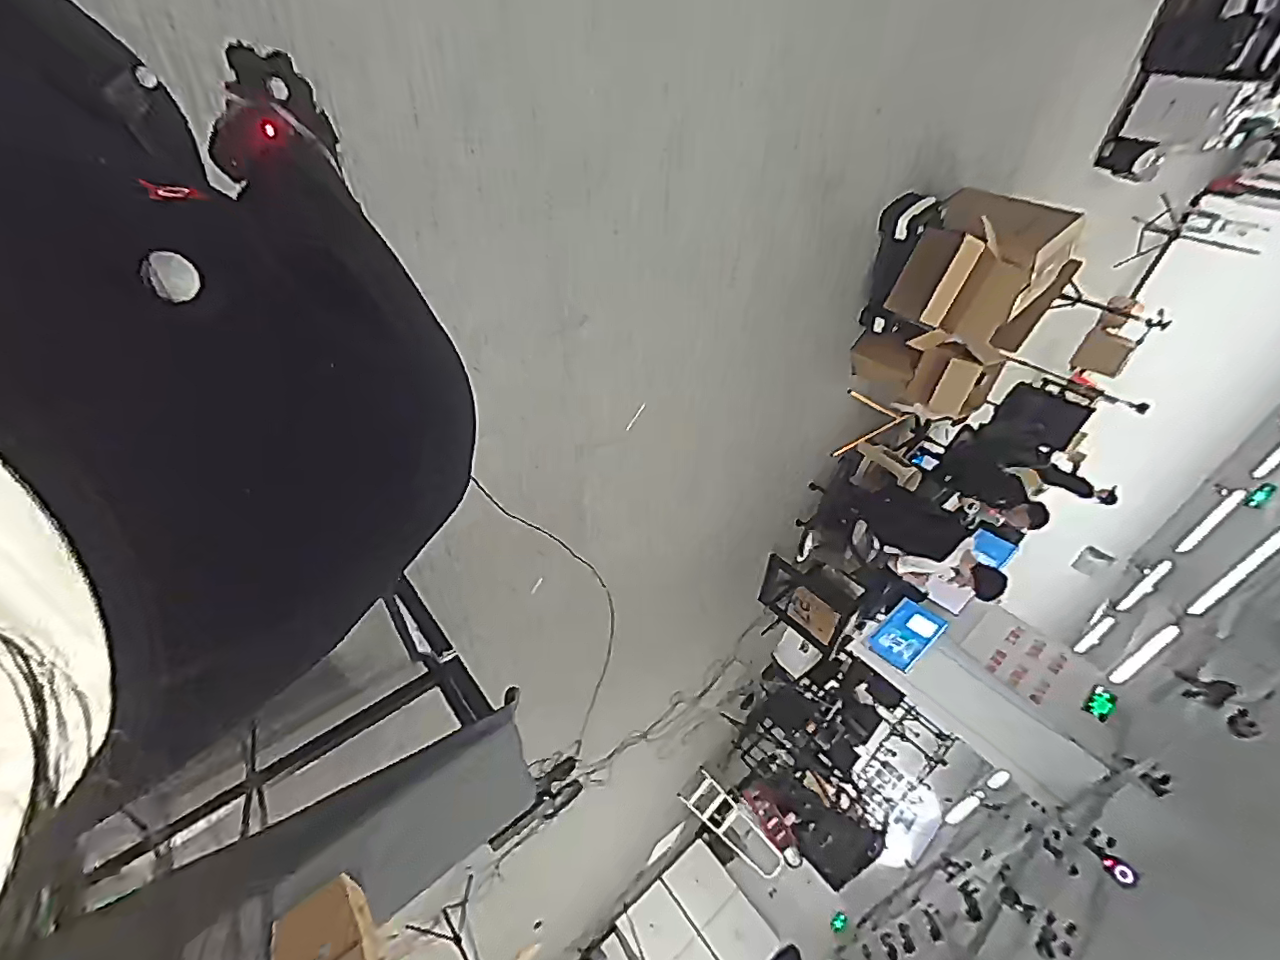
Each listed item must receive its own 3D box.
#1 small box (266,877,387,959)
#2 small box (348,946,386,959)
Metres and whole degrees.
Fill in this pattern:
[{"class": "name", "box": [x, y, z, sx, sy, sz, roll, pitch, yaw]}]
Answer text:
[{"class": "small box", "box": [-0.724, 1.075, 1.253, 0.179, 0.176, 0.168, -28, 139, -29]}, {"class": "small box", "box": [-0.618, 1.155, 1.158, 0.168, 0.176, 0.179, -29, 139, -30]}]
